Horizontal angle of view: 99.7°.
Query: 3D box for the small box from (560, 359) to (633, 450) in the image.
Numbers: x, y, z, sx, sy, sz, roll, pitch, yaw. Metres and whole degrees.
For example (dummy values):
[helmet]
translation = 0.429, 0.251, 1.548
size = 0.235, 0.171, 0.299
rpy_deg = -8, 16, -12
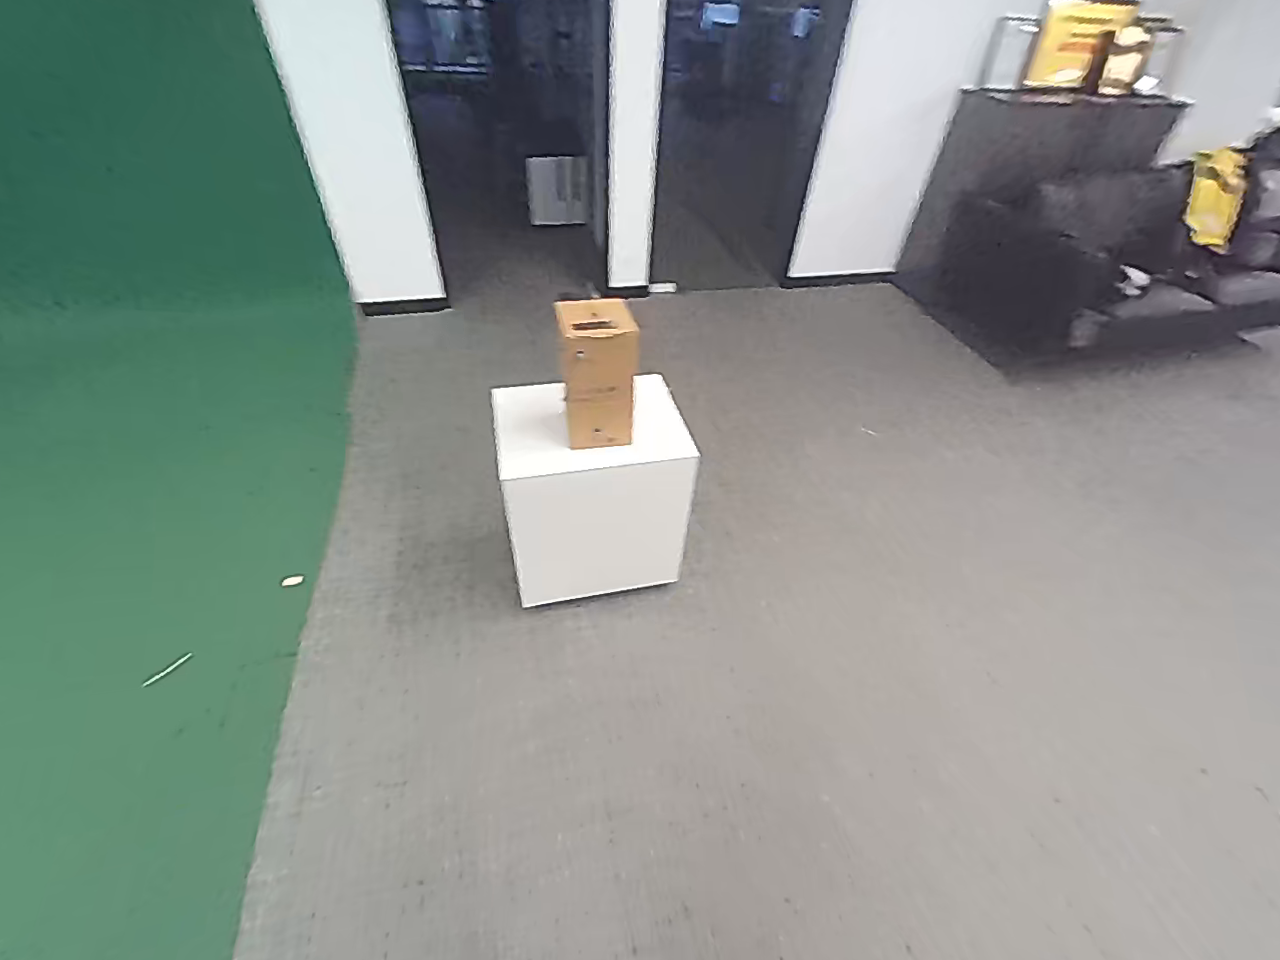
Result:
[small box]
translation = -0.119, -0.200, 1.423
size = 0.168, 0.176, 0.179
rpy_deg = -7, 44, -11
